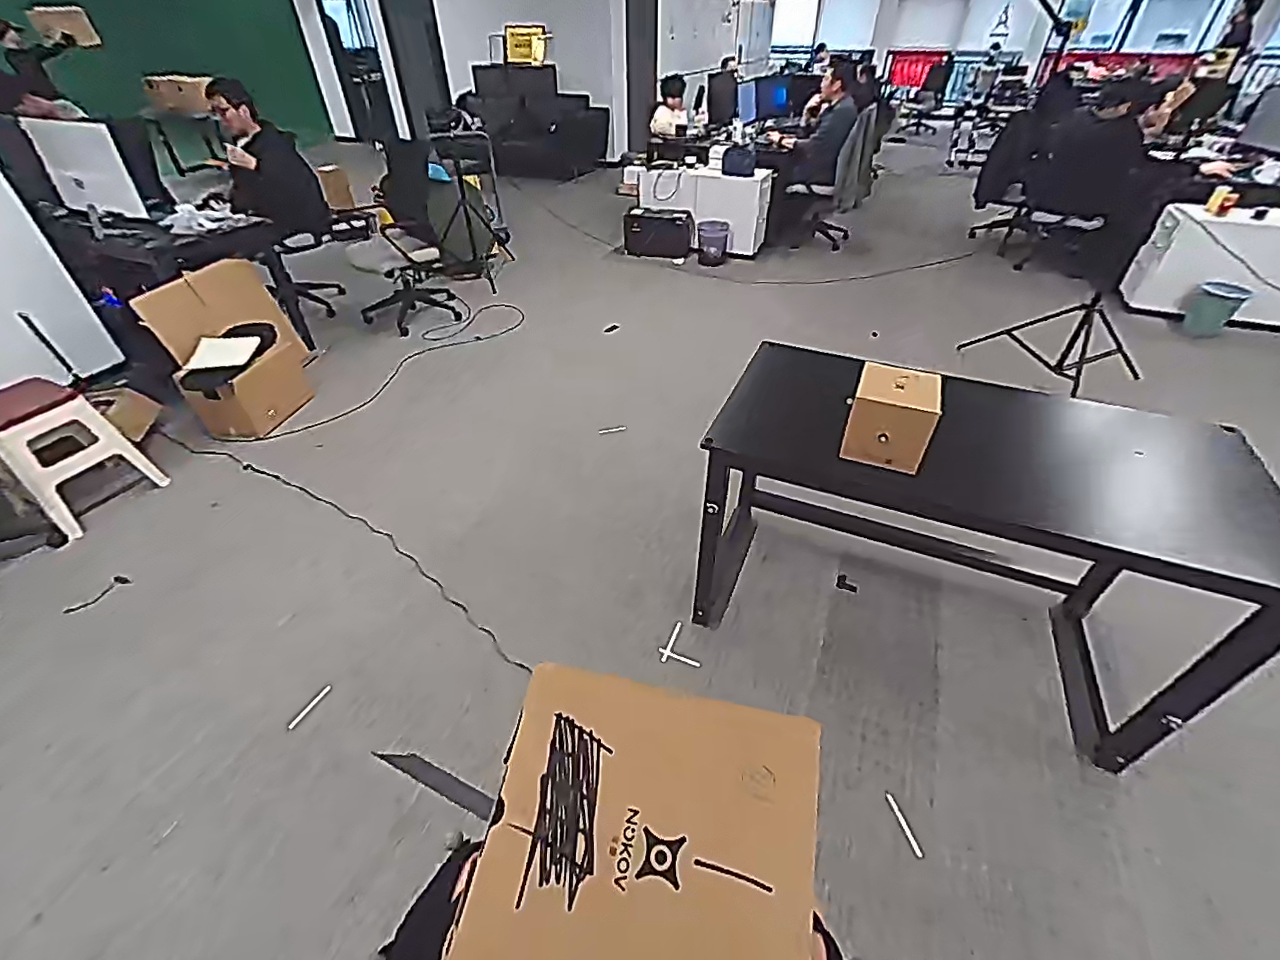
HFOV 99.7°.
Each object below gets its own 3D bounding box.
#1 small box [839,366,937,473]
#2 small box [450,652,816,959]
[{"bbox_3d":[0.571,-0.140,1.253,0.168,0.176,0.179,16,42,18],"label":"small box"},{"bbox_3d":[0.008,0.234,0.365,0.179,0.176,0.168,9,59,8],"label":"small box"}]
